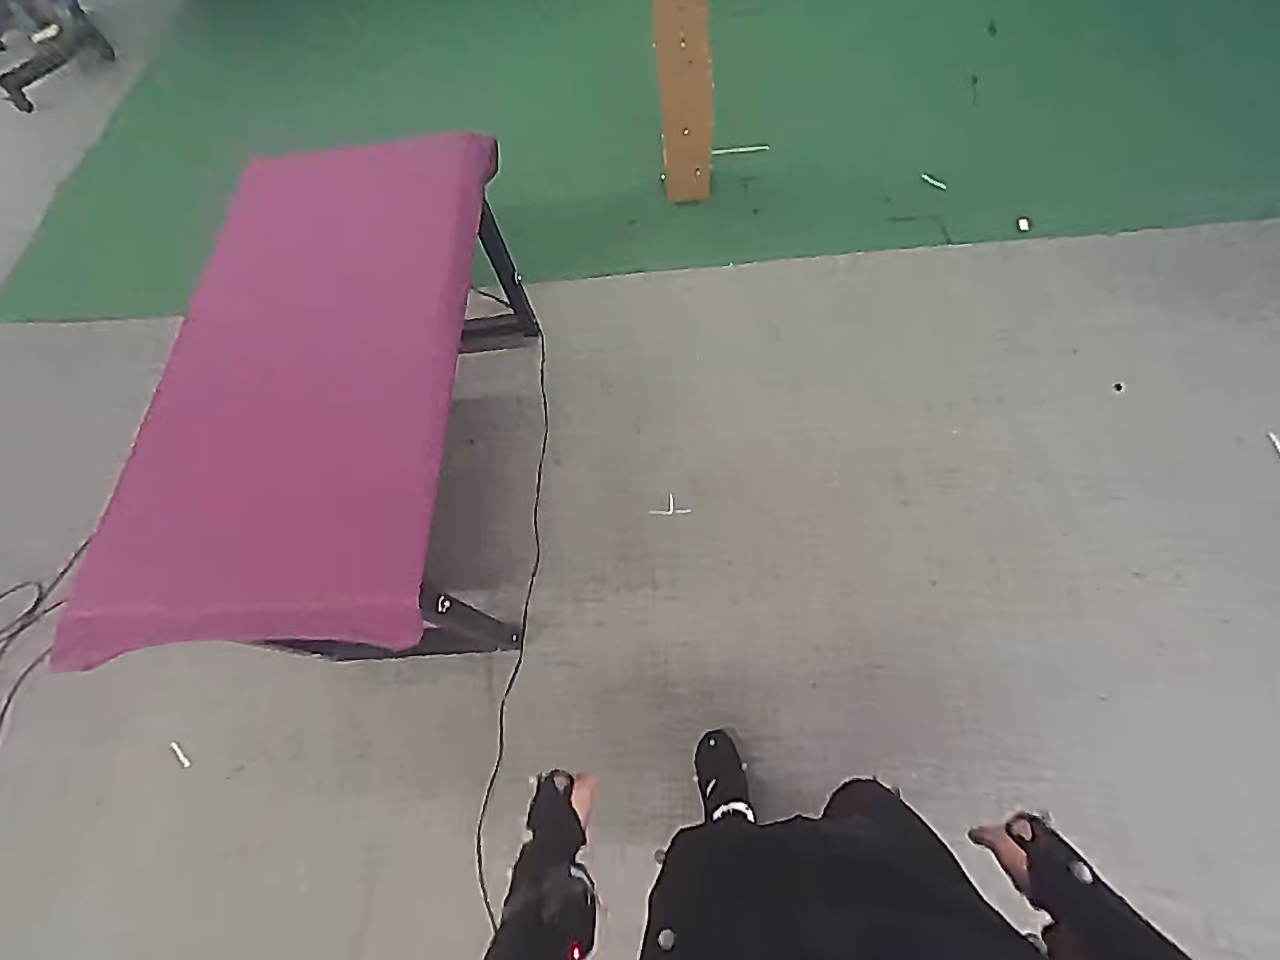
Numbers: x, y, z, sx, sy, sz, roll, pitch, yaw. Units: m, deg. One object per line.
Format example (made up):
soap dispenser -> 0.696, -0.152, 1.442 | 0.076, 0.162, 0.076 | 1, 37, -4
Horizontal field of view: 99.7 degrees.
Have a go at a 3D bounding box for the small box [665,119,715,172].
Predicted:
small box -> 0.189, -1.311, 2.057 | 0.179, 0.176, 0.168 | -6, 65, 5

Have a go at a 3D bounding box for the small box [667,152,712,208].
small box -> 0.202, -1.240, 2.203 | 0.179, 0.176, 0.168 | -3, 65, 6

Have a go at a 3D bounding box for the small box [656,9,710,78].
small box -> 0.139, -1.450, 1.766 | 0.168, 0.176, 0.179 | -5, 65, 5

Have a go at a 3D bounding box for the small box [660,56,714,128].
small box -> 0.167, -1.381, 1.911 | 0.179, 0.176, 0.168 | -7, 65, 4

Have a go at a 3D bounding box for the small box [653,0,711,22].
small box -> 0.123, -1.522, 1.620 | 0.179, 0.176, 0.168 | -5, 63, 6
